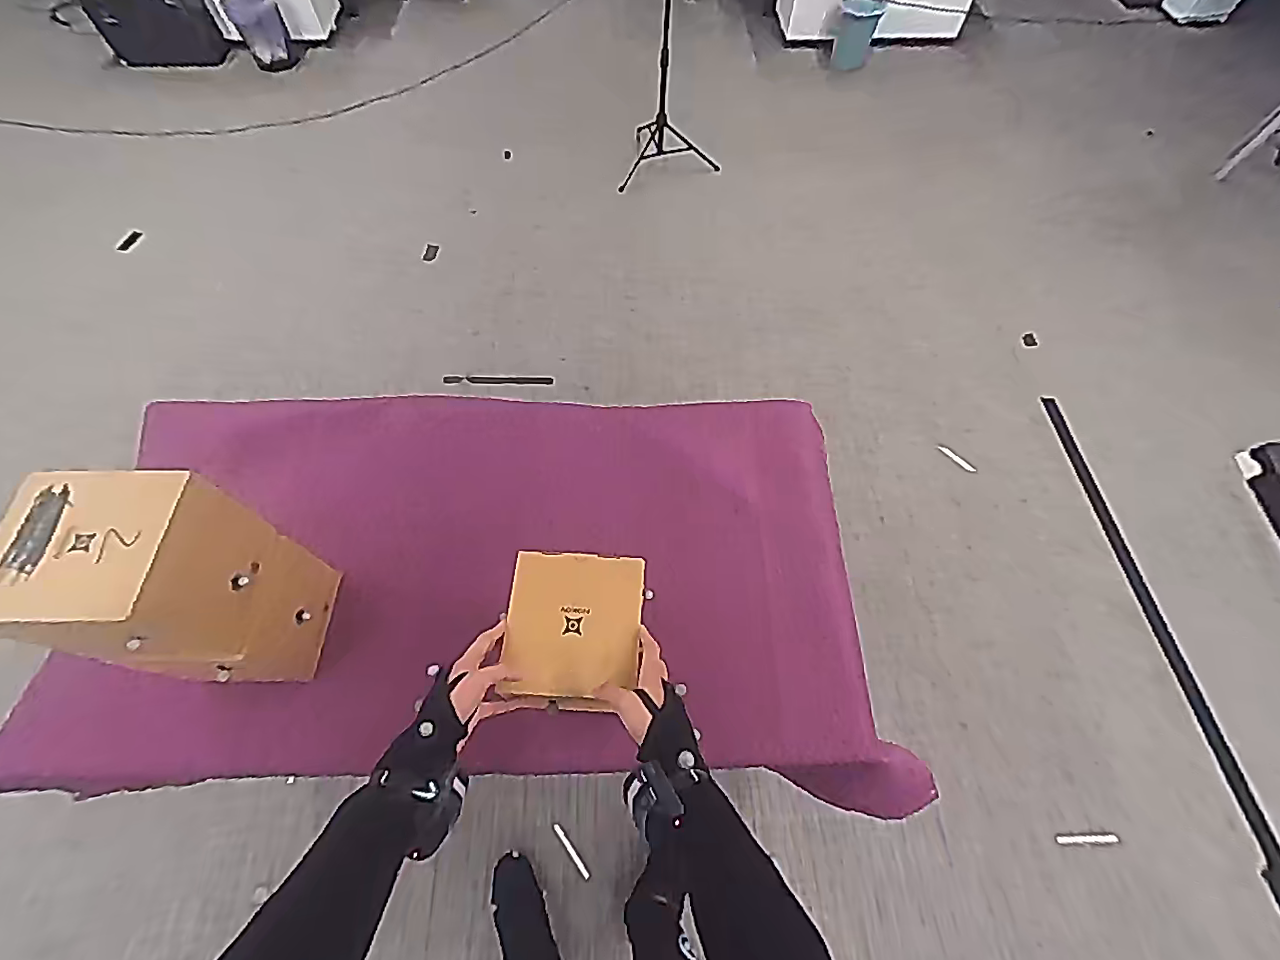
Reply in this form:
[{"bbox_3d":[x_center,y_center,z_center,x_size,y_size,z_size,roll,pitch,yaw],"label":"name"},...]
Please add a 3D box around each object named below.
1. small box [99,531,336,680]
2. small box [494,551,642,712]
[{"bbox_3d":[-0.565,0.181,0.758,0.179,0.176,0.168,1,61,-1],"label":"small box"},{"bbox_3d":[-0.084,0.210,0.727,0.168,0.176,0.179,3,61,0],"label":"small box"}]
